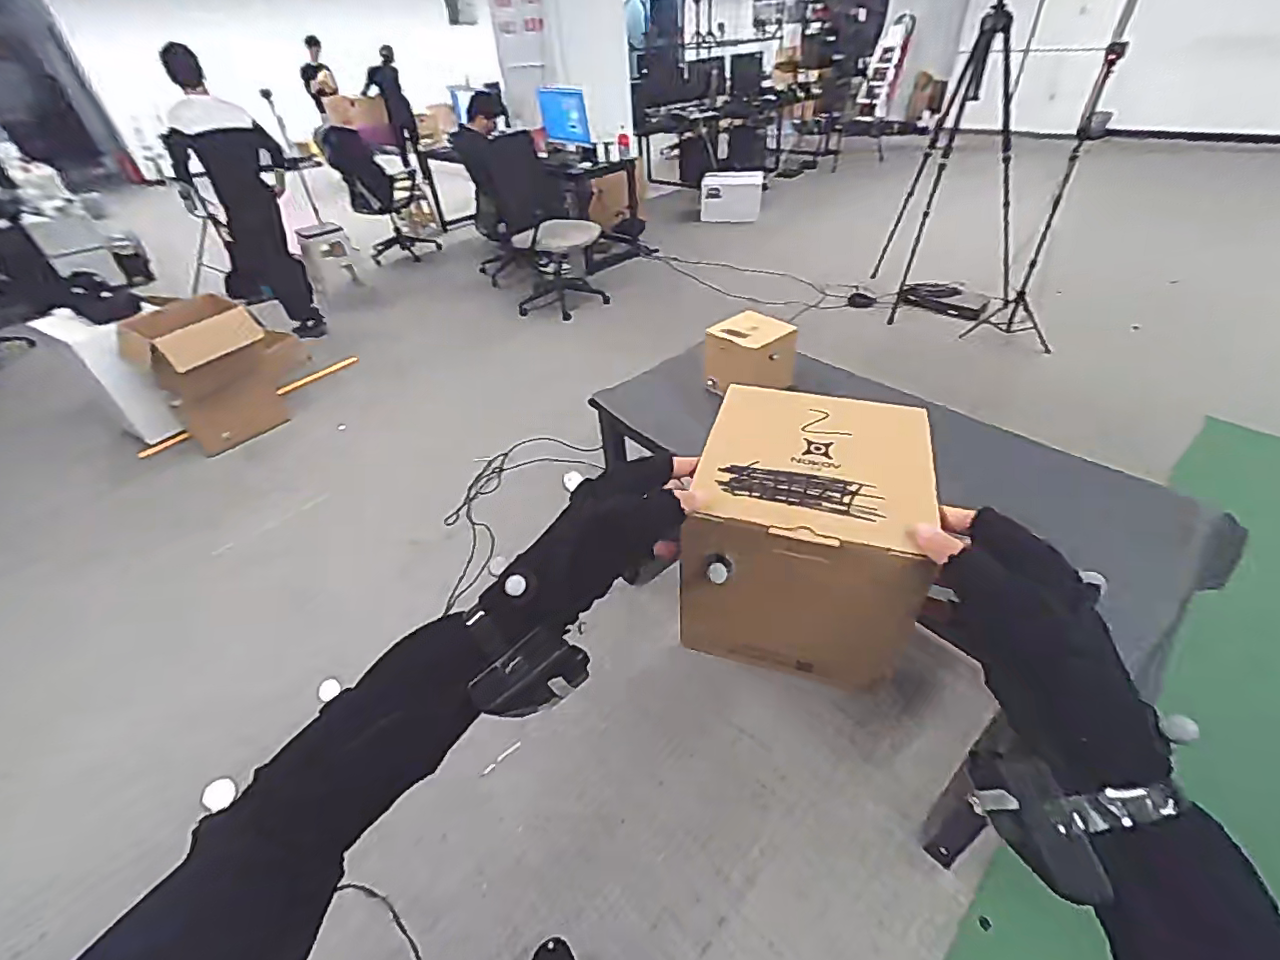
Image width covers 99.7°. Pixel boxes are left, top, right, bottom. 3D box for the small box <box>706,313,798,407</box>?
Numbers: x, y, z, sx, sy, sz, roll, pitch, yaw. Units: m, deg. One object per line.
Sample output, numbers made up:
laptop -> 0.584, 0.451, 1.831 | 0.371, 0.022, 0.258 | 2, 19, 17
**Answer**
small box -> 0.291, -0.315, 1.427 | 0.179, 0.176, 0.168 | -30, 46, -28
